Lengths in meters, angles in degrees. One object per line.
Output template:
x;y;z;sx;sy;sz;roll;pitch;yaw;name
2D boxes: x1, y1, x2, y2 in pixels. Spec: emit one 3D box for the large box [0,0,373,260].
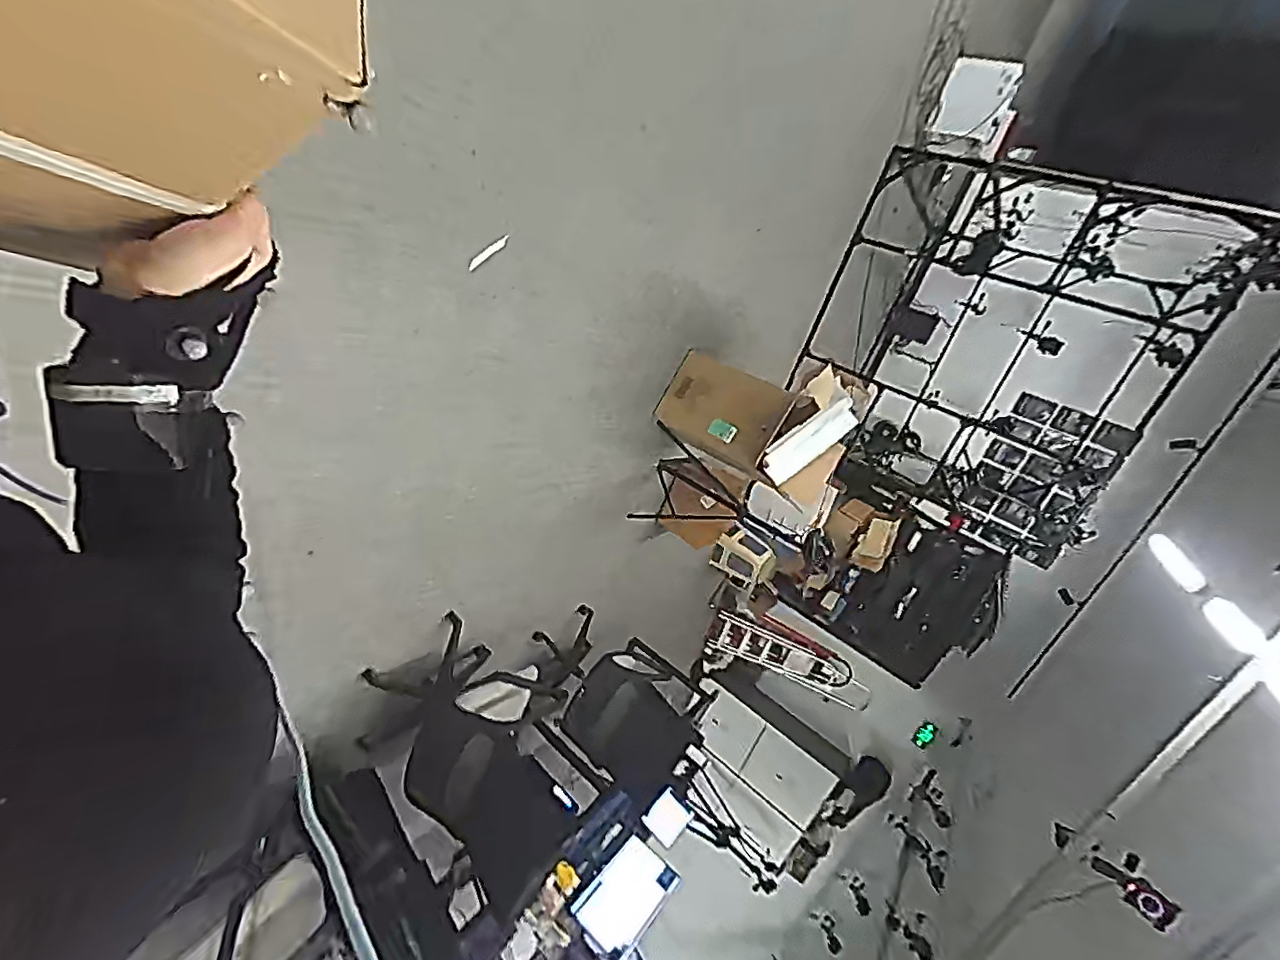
-0.355;-0.317;0.148;0.408;0.320;0.320;0;88;-58;large box
